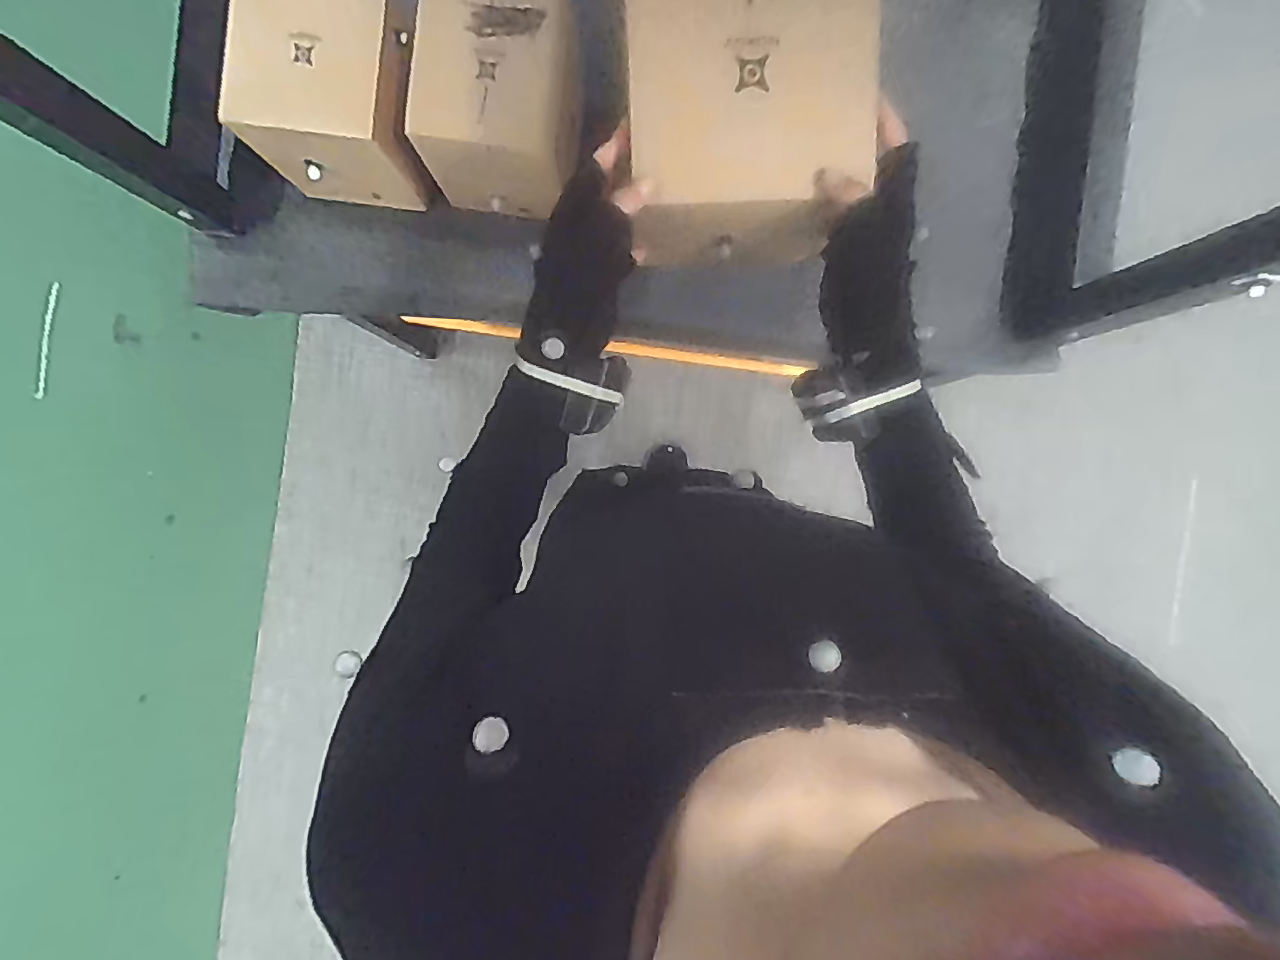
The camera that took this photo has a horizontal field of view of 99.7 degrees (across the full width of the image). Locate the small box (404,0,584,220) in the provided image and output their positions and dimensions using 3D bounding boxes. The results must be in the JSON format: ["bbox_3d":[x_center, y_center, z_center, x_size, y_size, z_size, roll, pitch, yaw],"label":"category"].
[{"bbox_3d":[-0.162,-0.450,0.657,0.168,0.176,0.179,8,91,-1],"label":"small box"}]

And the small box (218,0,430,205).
[{"bbox_3d":[-0.358,-0.462,0.653,0.168,0.176,0.179,6,90,-2],"label":"small box"}]
